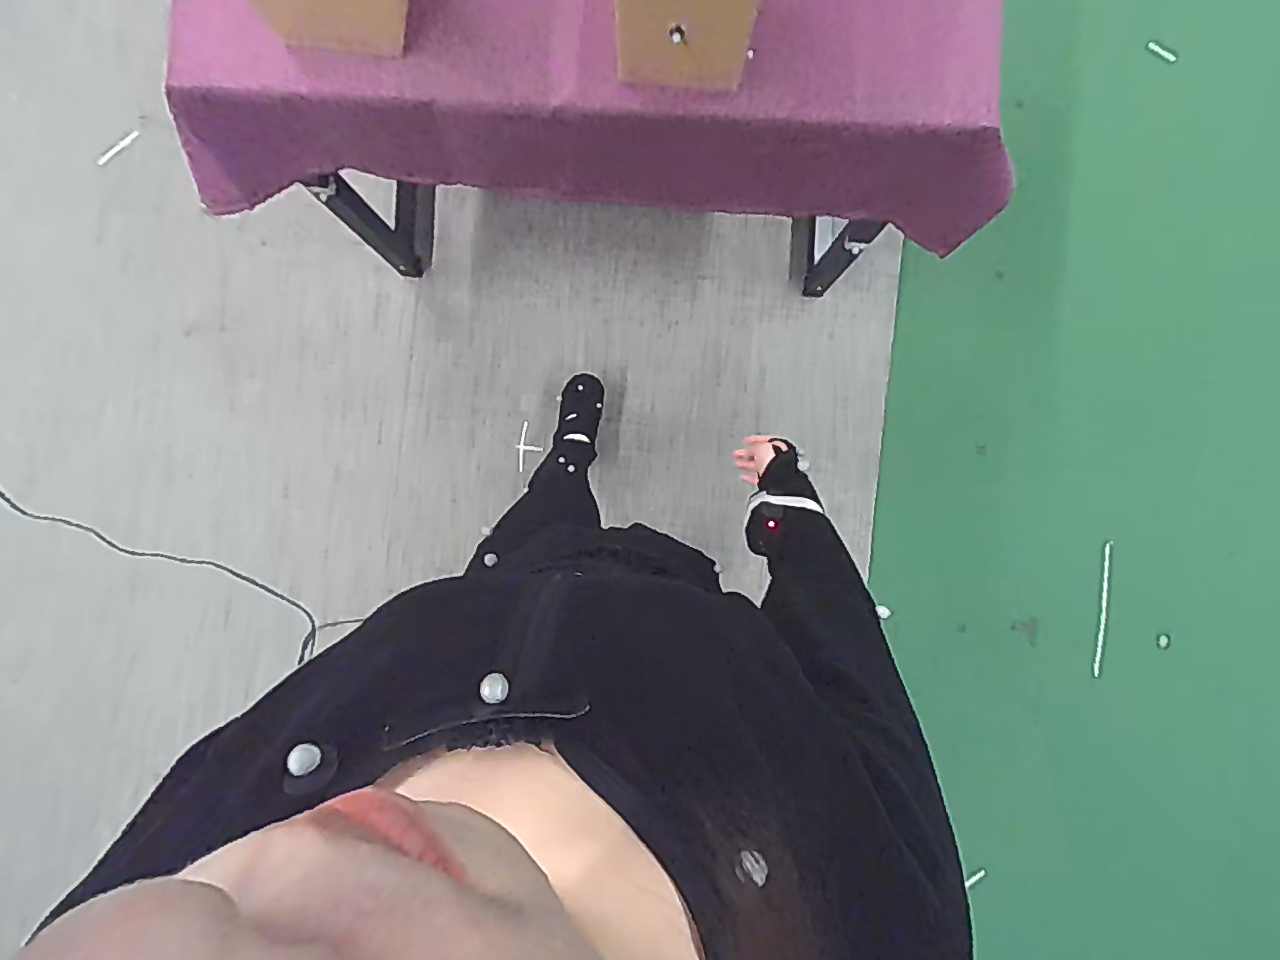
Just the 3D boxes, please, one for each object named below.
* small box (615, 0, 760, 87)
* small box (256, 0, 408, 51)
[{"bbox_3d":[0.064,-0.651,0.698,0.179,0.176,0.168,6,89,1],"label":"small box"},{"bbox_3d":[-0.420,-0.701,0.696,0.179,0.176,0.168,6,89,0],"label":"small box"}]
